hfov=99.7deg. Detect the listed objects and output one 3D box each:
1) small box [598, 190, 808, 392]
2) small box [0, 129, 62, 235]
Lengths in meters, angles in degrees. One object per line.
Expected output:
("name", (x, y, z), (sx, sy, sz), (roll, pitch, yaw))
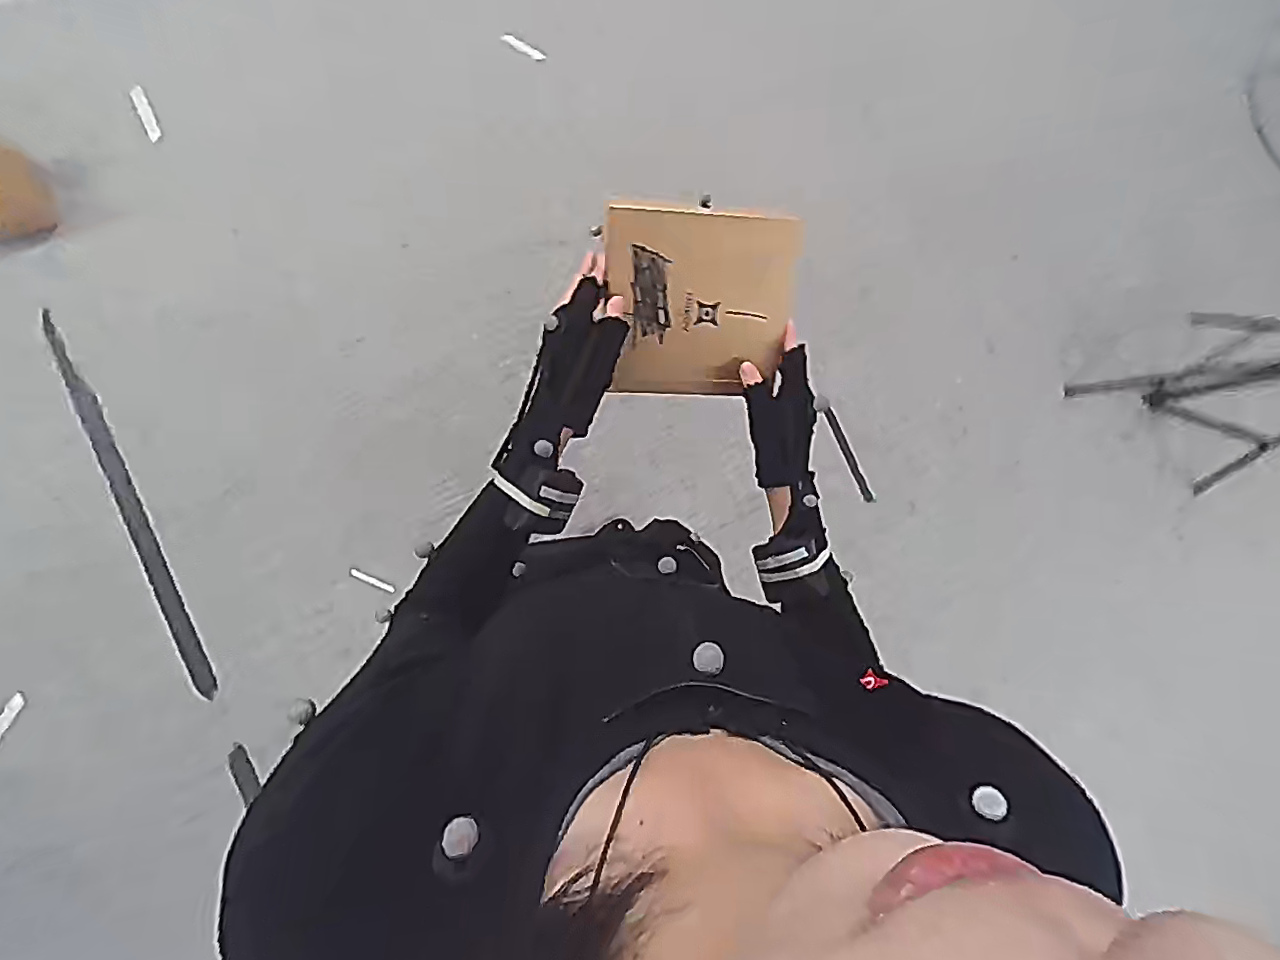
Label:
("small box", (0.047, -0.201, 0.563), (0.179, 0.176, 0.168), (1, 121, -7))
("small box", (-1.536, -0.713, 1.262), (0.168, 0.176, 0.179), (-23, 91, -10))
